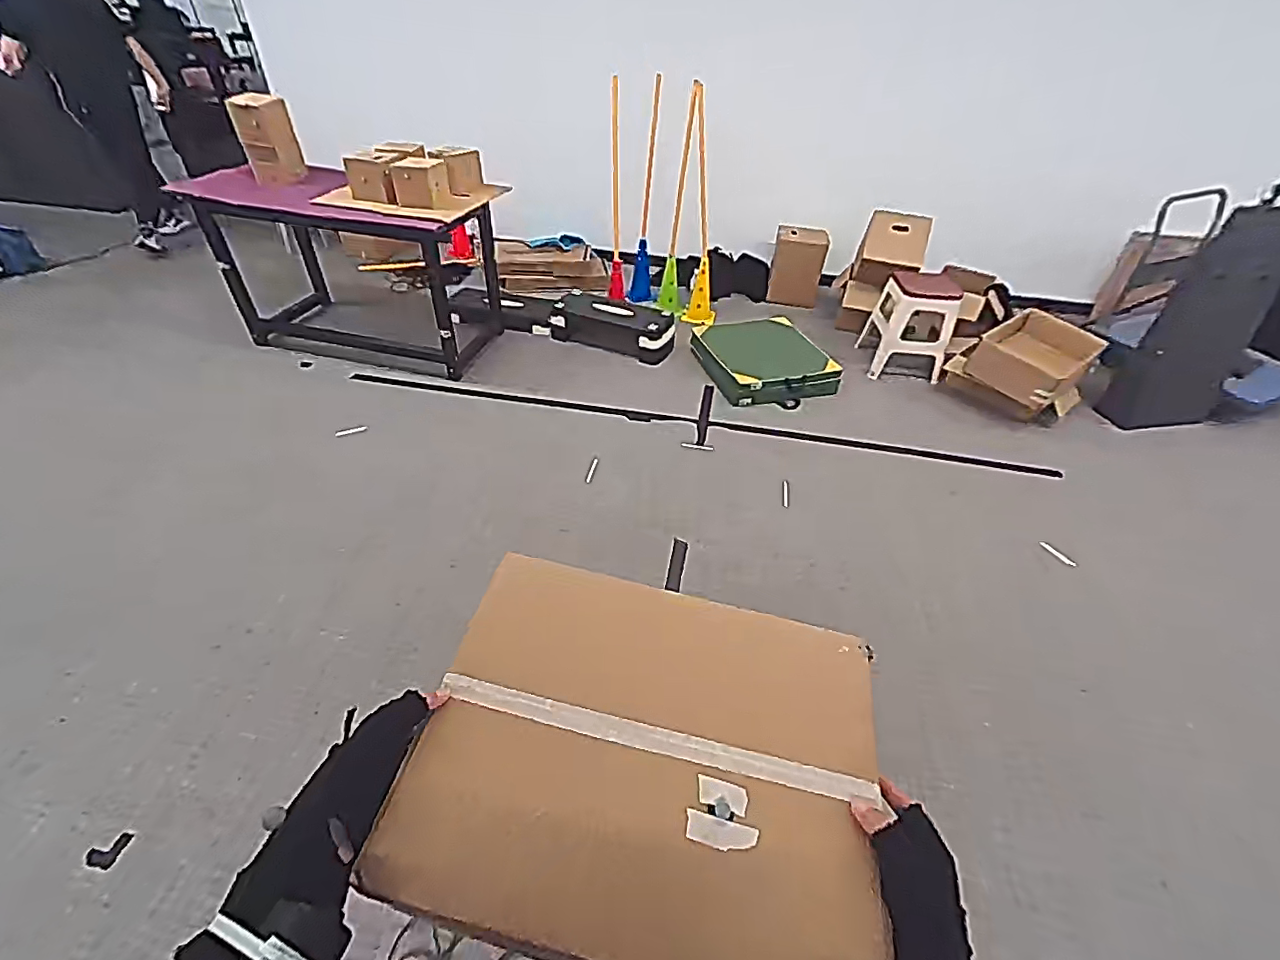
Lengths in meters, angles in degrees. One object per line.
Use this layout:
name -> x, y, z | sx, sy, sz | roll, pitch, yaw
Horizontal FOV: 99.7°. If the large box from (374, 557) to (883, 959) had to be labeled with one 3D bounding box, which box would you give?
large box -> -0.001, 0.336, 0.612 | 0.408, 0.320, 0.320 | 13, 48, 4
